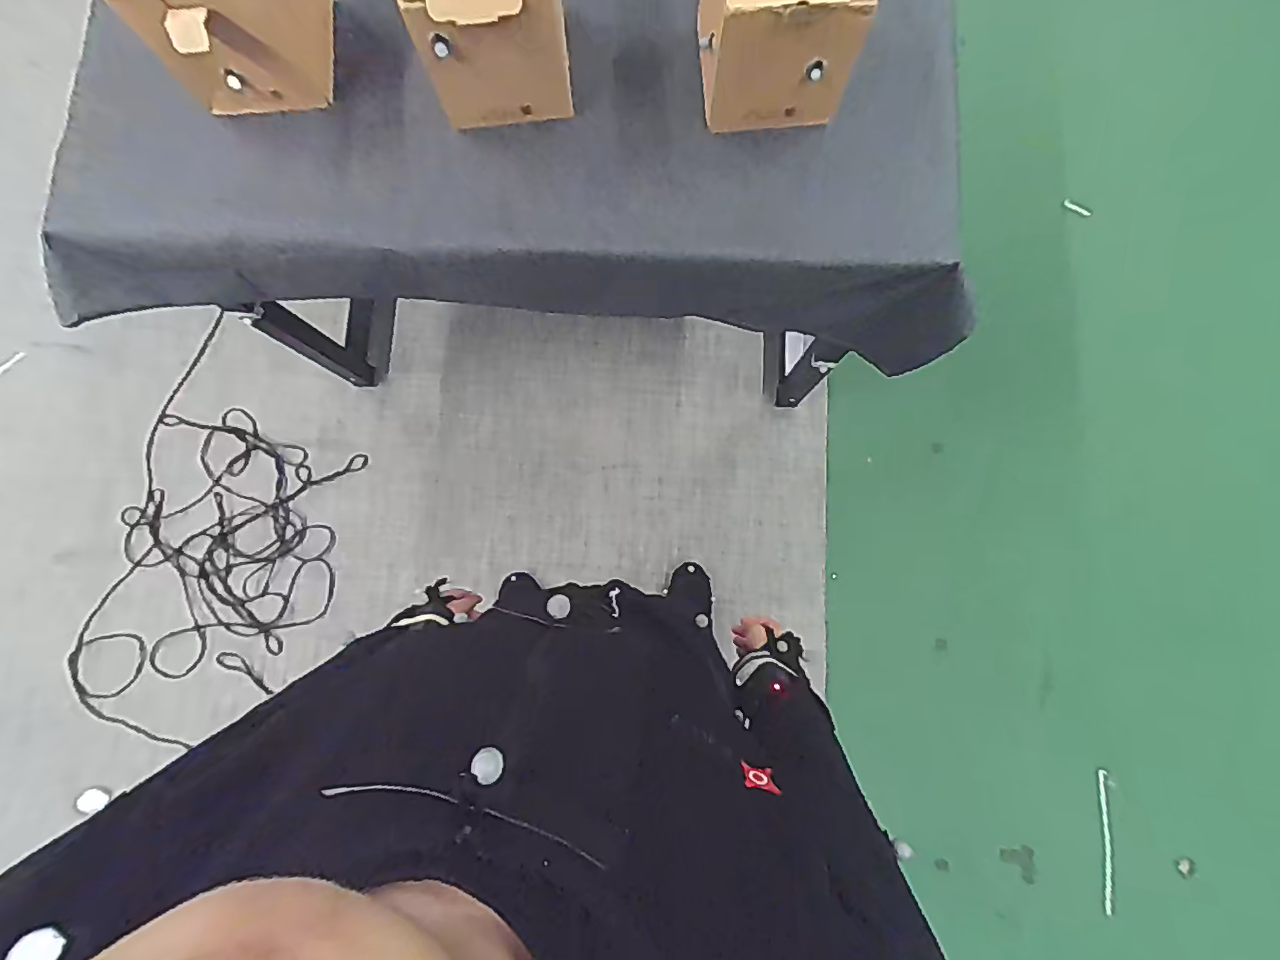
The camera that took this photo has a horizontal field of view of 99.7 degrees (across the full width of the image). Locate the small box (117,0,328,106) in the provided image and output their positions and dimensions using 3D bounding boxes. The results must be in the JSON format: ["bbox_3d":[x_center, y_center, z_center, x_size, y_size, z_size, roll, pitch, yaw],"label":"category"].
[{"bbox_3d":[-0.507,-0.603,0.660,0.168,0.176,0.179,-4,82,-1],"label":"small box"}]

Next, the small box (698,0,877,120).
[{"bbox_3d":[0.165,-0.568,0.652,0.168,0.176,0.179,-4,81,-1],"label":"small box"}]
